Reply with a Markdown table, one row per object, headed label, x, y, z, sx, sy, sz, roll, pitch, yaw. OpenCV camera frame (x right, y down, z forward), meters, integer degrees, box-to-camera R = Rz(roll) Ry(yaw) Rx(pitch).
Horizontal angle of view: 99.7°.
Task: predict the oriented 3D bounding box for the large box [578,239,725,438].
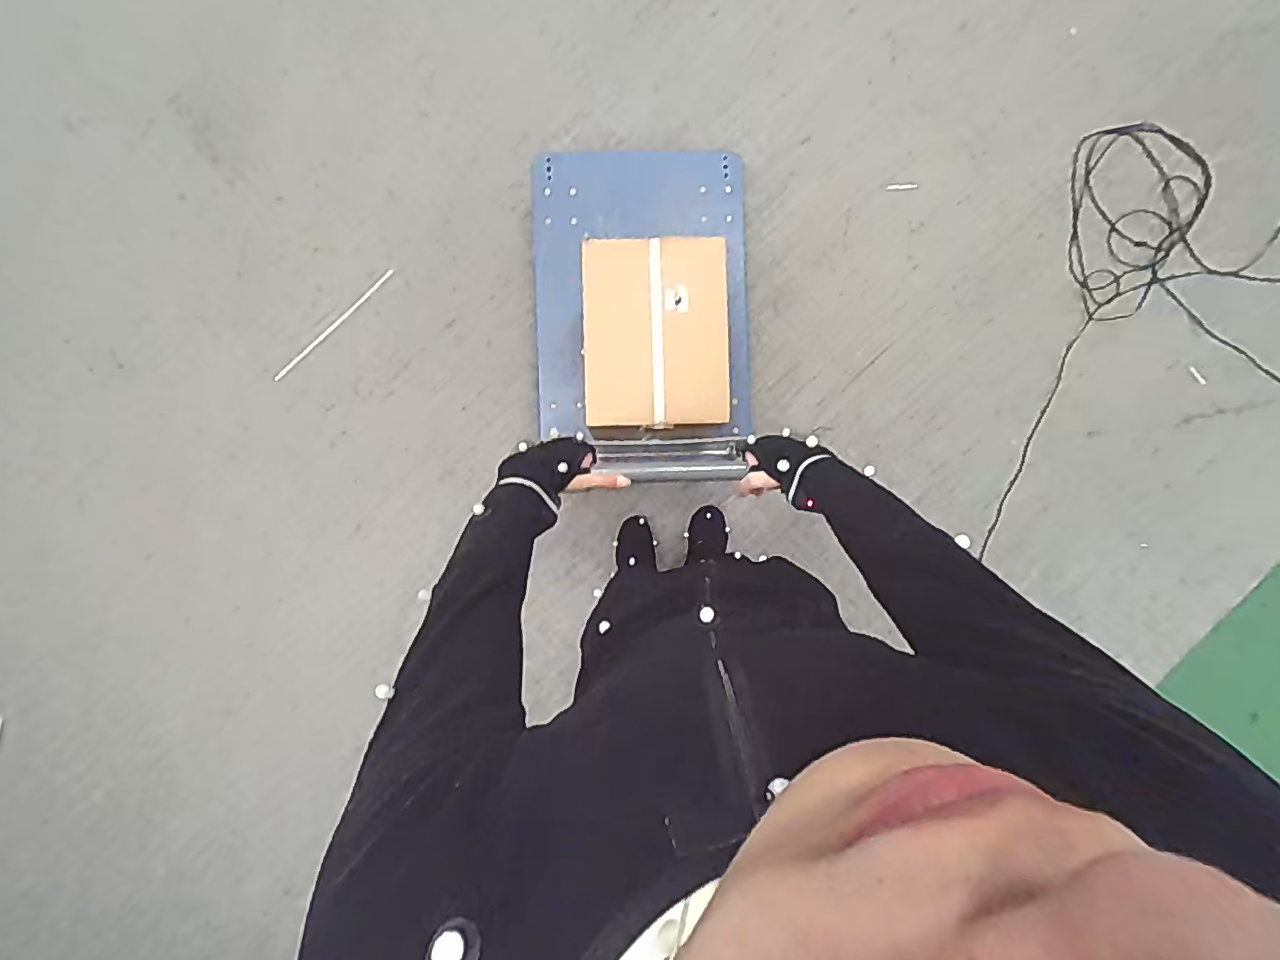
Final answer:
| label | x | y | z | sx | sy | sz | roll | pitch | yaw |
| --- | --- | --- | --- | --- | --- | --- | --- | --- | --- |
| large box | 0.021 | -0.322 | 1.327 | 0.320 | 0.320 | 0.408 | -1 | 88 | -2 |
